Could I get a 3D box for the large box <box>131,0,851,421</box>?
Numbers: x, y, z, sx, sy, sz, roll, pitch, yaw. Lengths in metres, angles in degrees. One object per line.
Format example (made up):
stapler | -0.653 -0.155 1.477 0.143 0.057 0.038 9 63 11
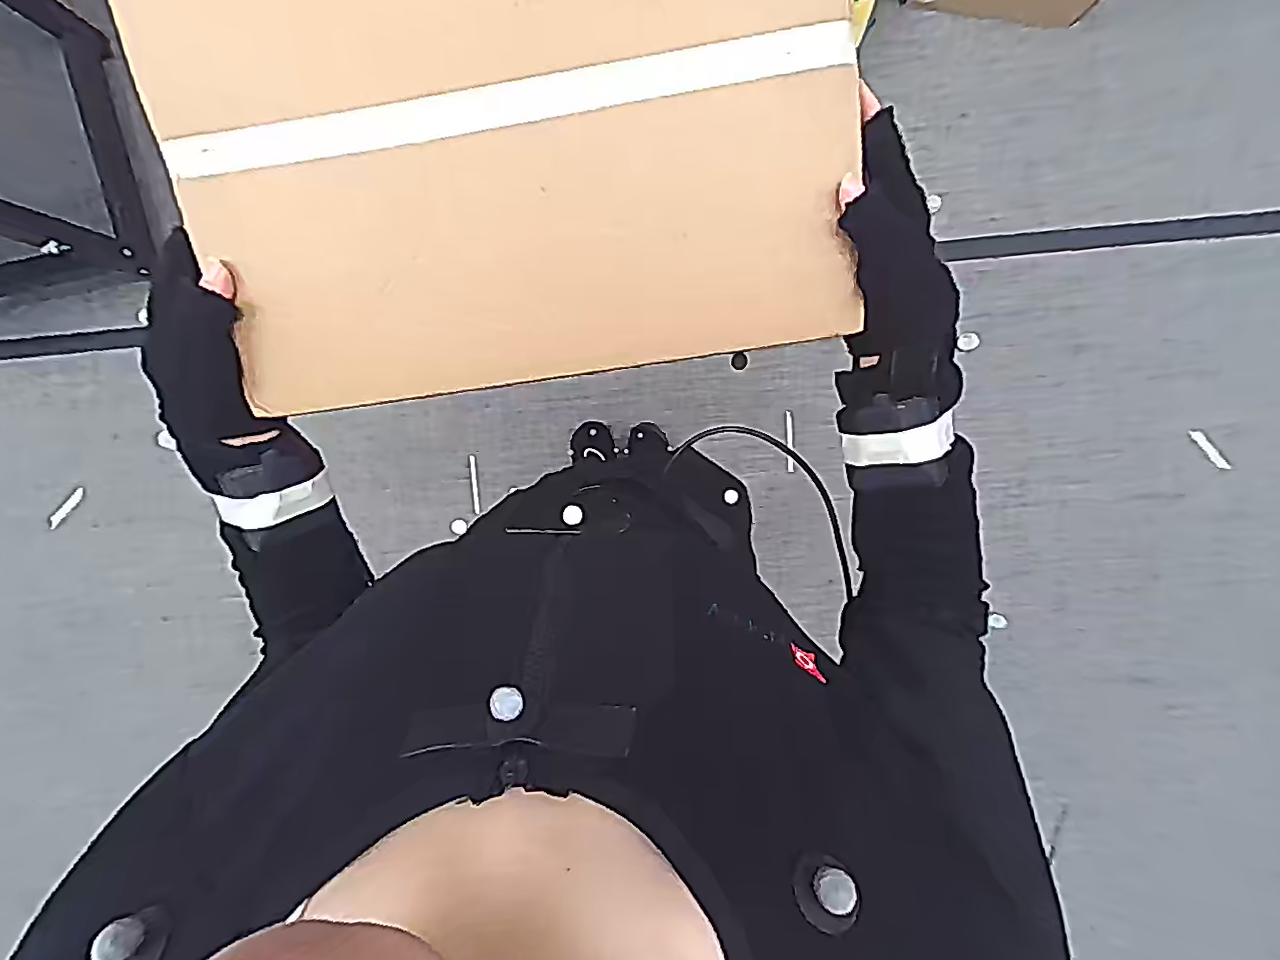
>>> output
large box | -0.077 -0.256 0.465 0.408 0.320 0.320 -8 105 3
